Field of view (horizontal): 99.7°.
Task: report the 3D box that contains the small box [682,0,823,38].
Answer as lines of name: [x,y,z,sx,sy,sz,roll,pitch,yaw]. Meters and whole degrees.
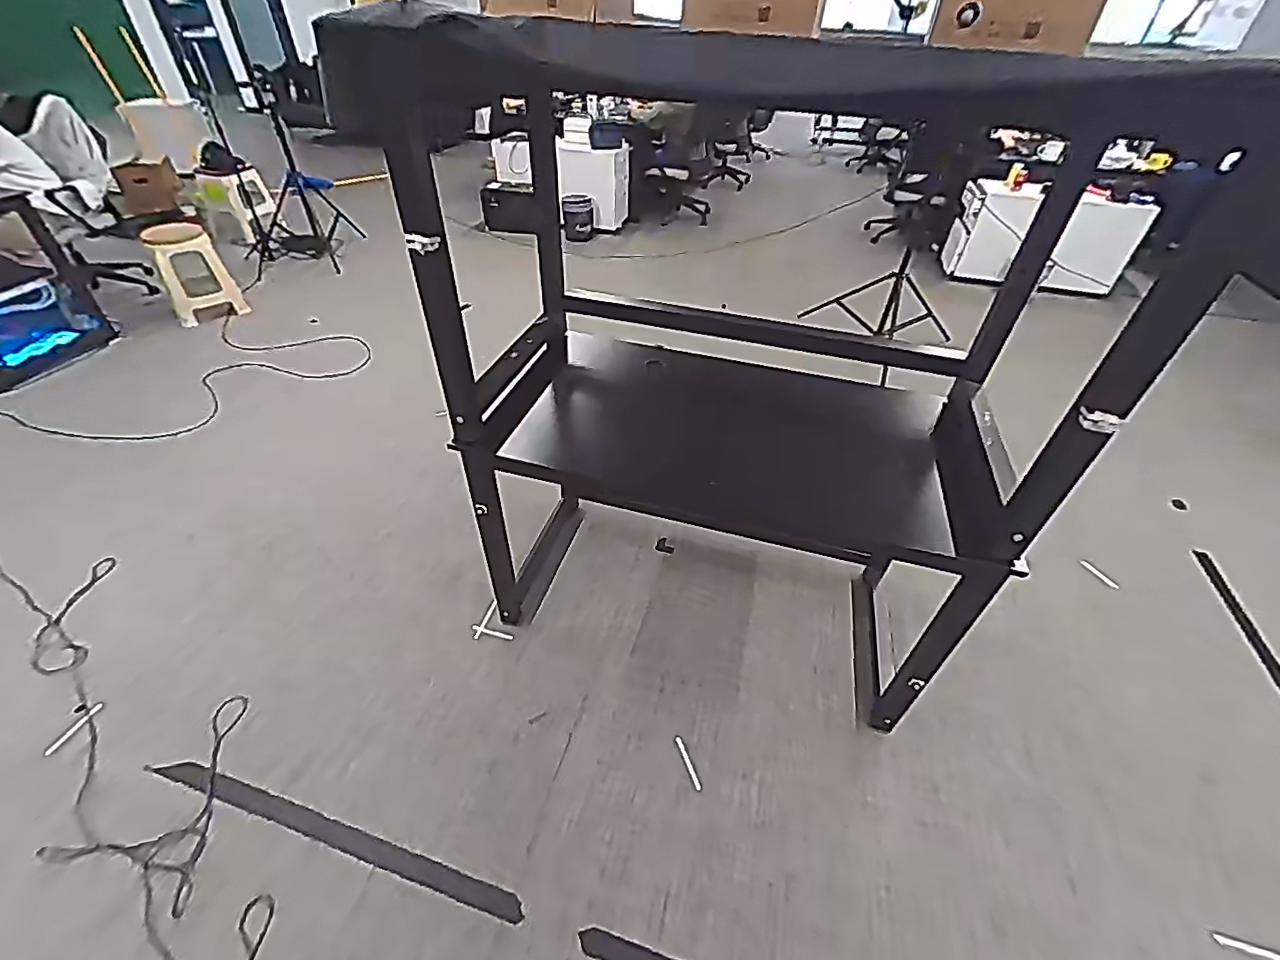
small box: [0.154,-0.667,0.675,0.168,0.176,0.179,13,41,12]

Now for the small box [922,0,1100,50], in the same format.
small box: [0.443,-0.606,0.623,0.168,0.176,0.179,15,41,14]

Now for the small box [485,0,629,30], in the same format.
small box: [-0.109,-0.722,0.724,0.168,0.176,0.179,13,41,9]
